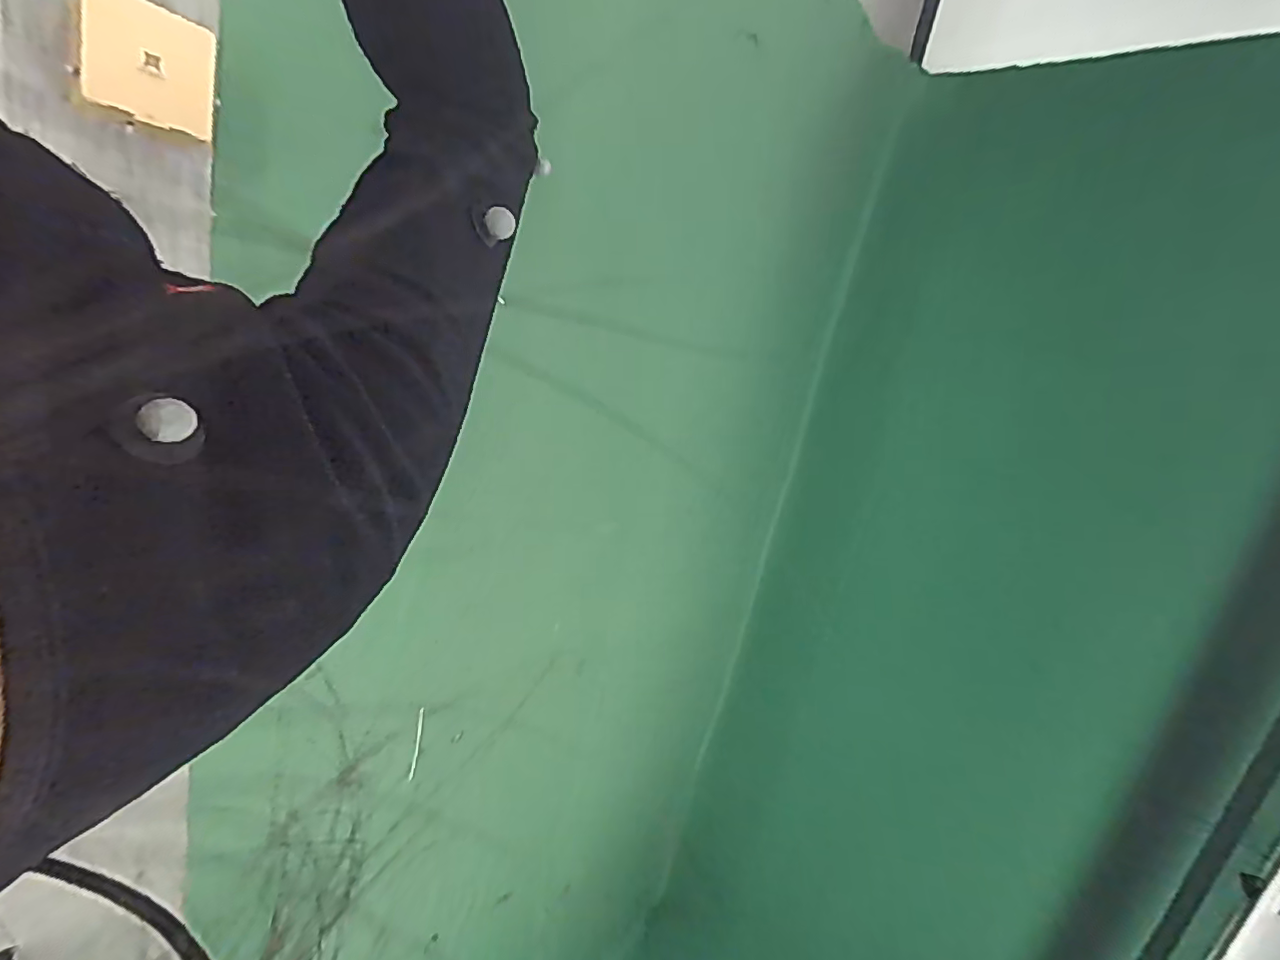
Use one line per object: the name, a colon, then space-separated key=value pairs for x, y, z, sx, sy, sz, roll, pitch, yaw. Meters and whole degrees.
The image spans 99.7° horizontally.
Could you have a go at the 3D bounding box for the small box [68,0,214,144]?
small box: x=-0.861 y=-0.710 z=0.933 sx=0.168 sy=0.176 sz=0.179 roll=-3 pitch=111 yaw=-49
